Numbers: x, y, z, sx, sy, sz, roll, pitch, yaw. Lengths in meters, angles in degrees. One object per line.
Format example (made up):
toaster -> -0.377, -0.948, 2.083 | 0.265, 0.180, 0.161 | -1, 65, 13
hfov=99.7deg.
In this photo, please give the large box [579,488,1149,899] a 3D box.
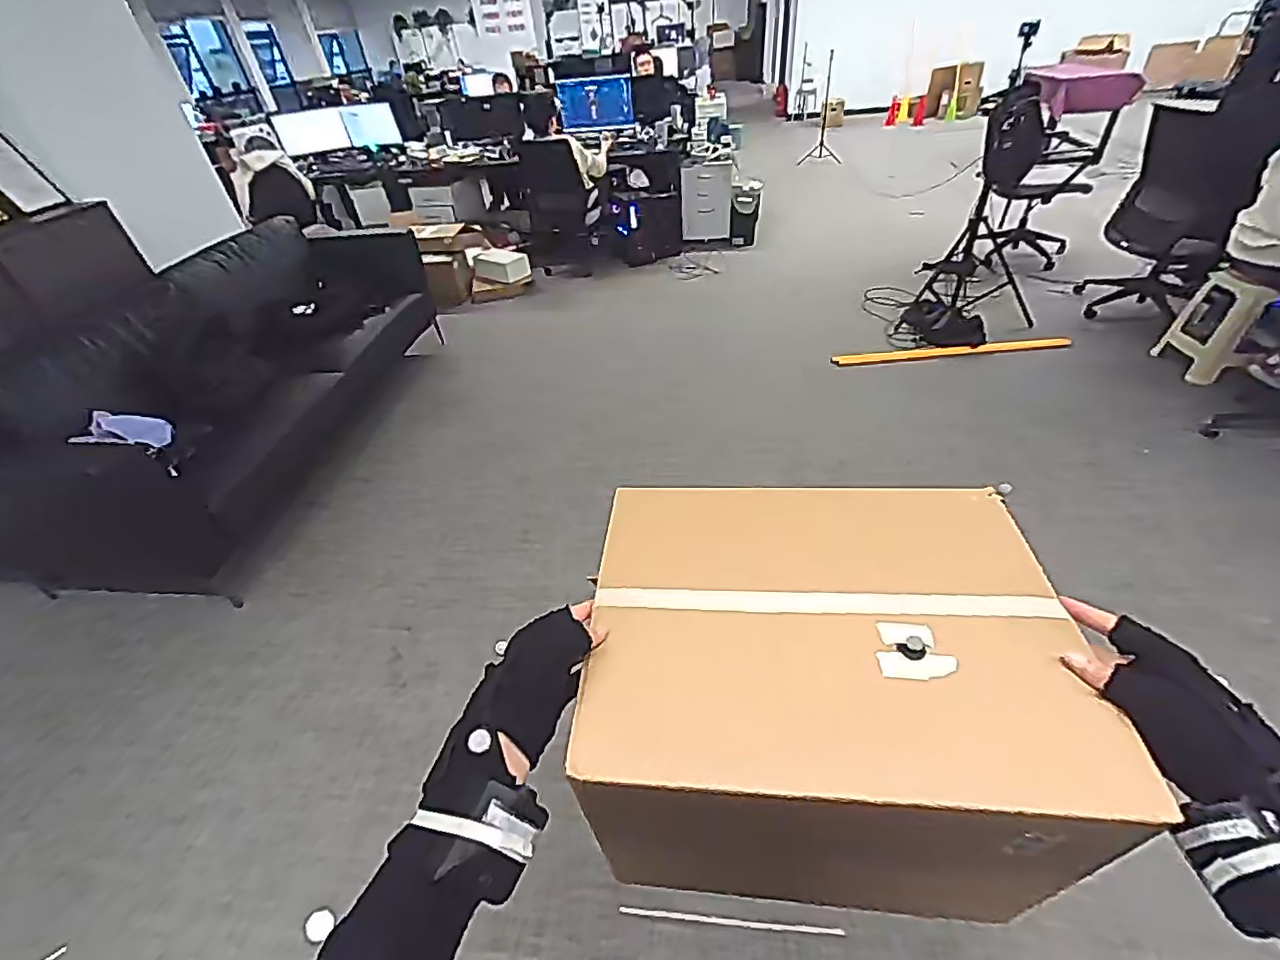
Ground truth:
large box -> 0.173, 0.224, 0.593 | 0.408, 0.320, 0.320 | -1, 43, 8
